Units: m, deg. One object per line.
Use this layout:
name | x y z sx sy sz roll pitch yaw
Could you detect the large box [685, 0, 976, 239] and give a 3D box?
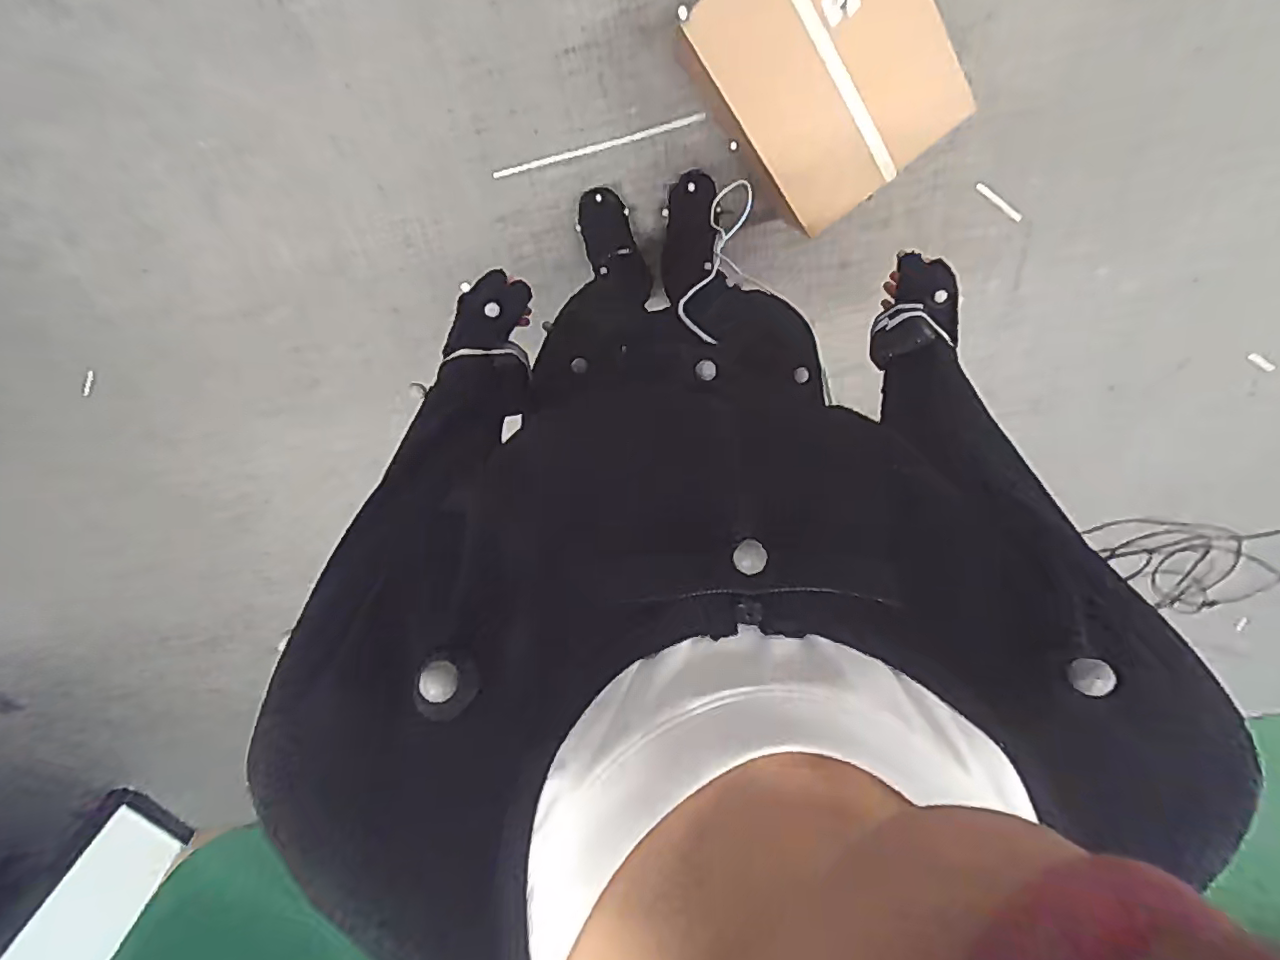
large box | 0.324 -0.732 1.001 0.320 0.320 0.408 -35 114 21
